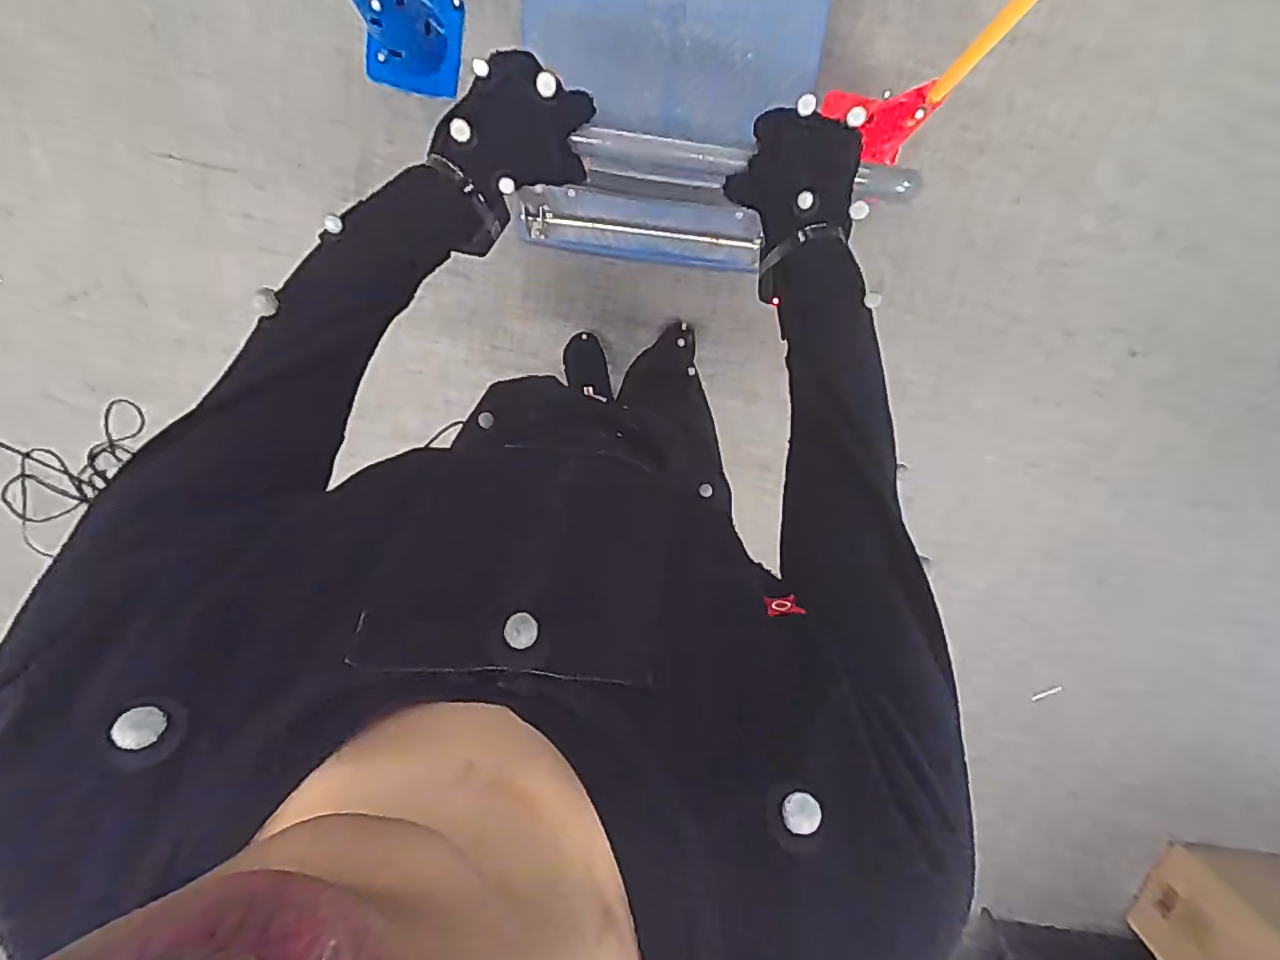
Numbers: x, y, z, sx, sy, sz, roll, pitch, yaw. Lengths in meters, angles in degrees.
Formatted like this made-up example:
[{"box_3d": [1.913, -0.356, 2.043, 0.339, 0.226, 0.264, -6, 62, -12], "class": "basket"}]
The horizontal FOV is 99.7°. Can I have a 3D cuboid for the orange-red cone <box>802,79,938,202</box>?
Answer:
[{"box_3d": [0.494, -0.722, 1.099, 0.199, 0.360, 0.198, 12, 107, -3], "class": "orange-red cone"}]
